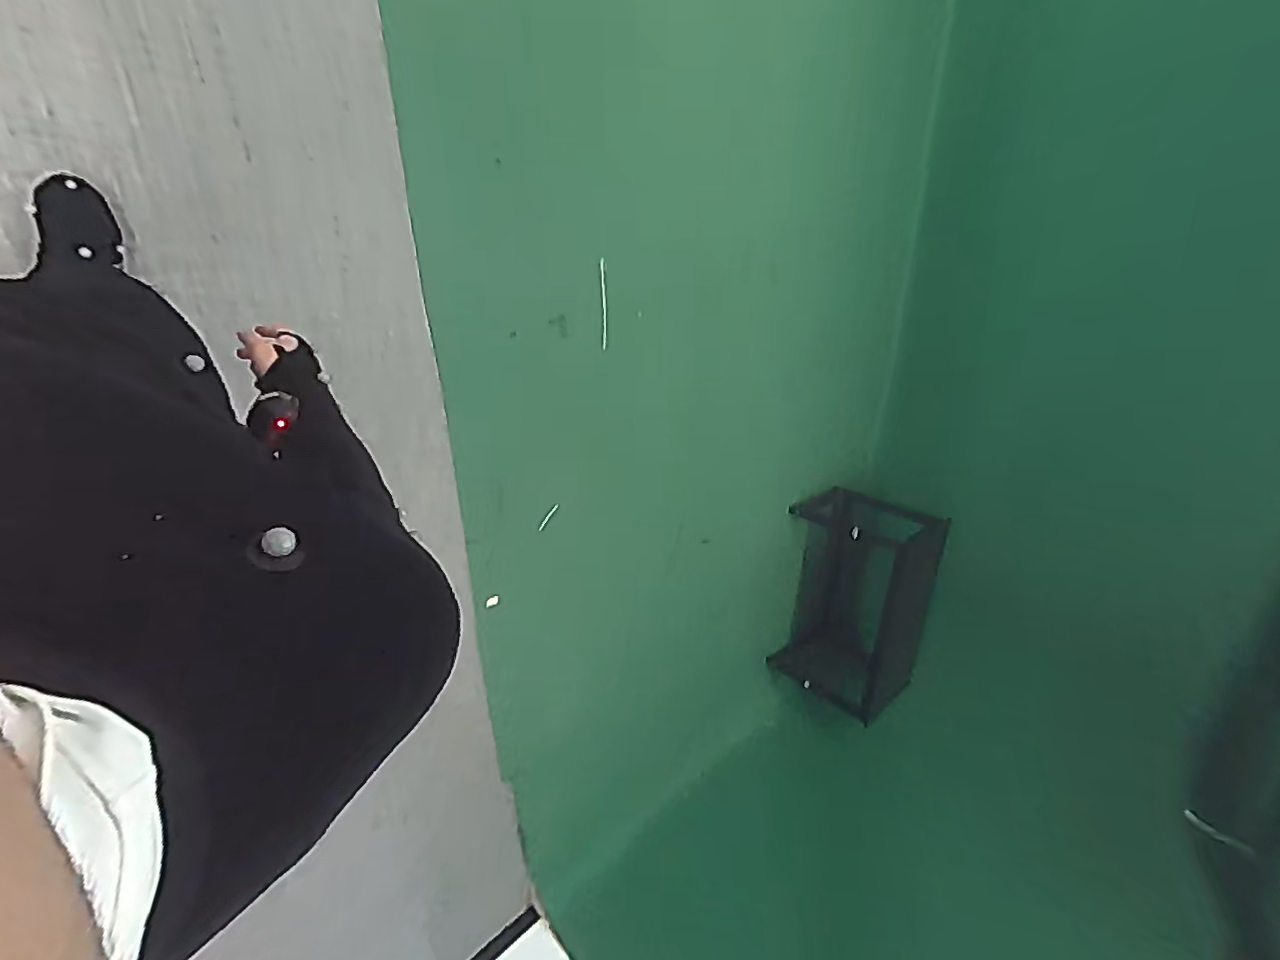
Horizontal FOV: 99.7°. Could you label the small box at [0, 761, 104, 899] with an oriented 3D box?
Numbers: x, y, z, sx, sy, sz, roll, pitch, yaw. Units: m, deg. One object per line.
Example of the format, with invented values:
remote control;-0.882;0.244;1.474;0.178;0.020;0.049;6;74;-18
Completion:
small box;-1.358;0.777;1.229;0.168;0.176;0.179;-16;118;-40
